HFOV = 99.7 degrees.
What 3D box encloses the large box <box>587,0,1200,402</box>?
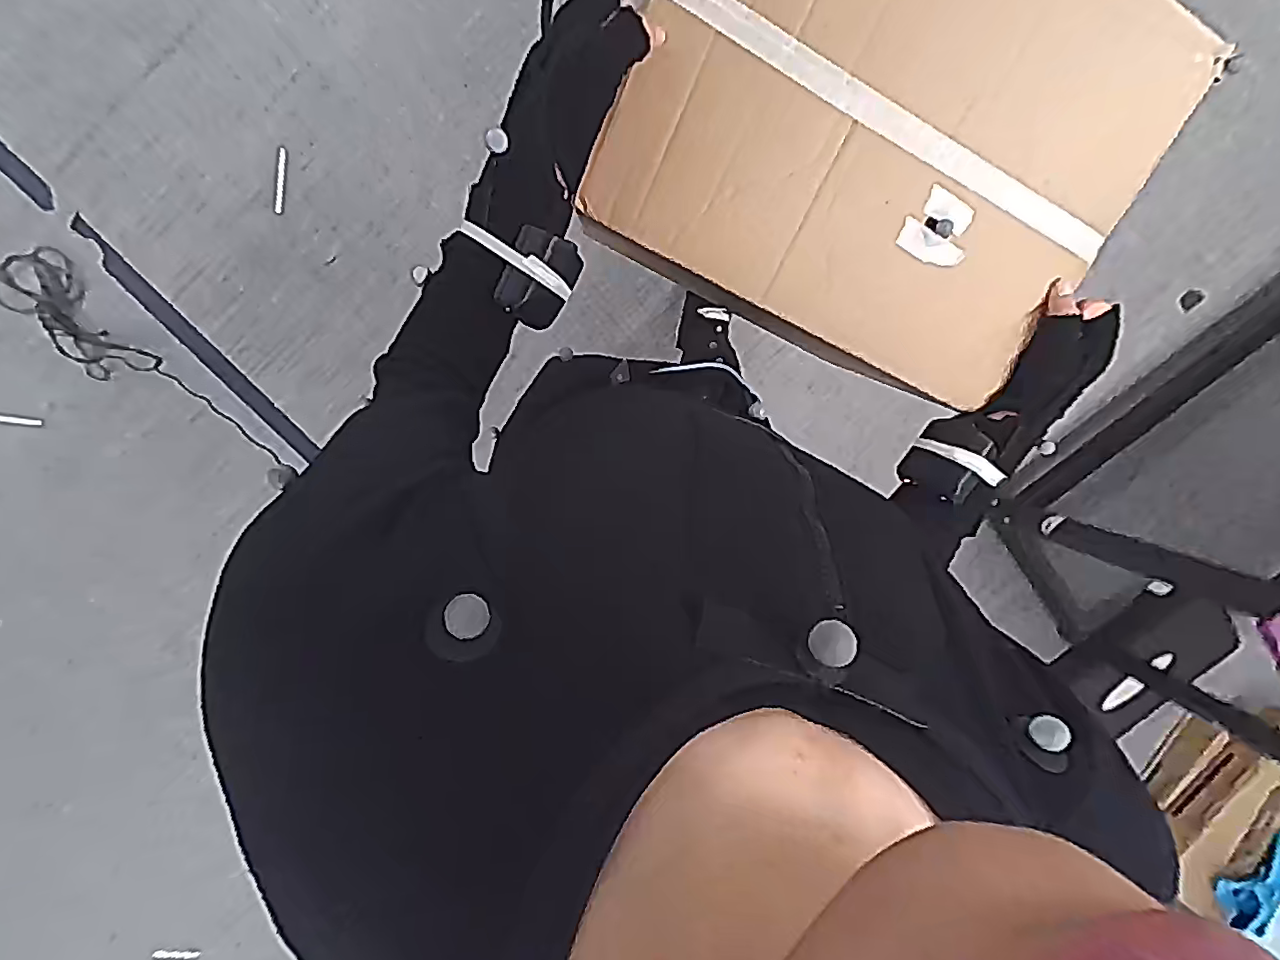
[{"bbox_3d":[0.184,-0.326,0.560,0.408,0.320,0.320,23,108,-14],"label":"large box"}]
